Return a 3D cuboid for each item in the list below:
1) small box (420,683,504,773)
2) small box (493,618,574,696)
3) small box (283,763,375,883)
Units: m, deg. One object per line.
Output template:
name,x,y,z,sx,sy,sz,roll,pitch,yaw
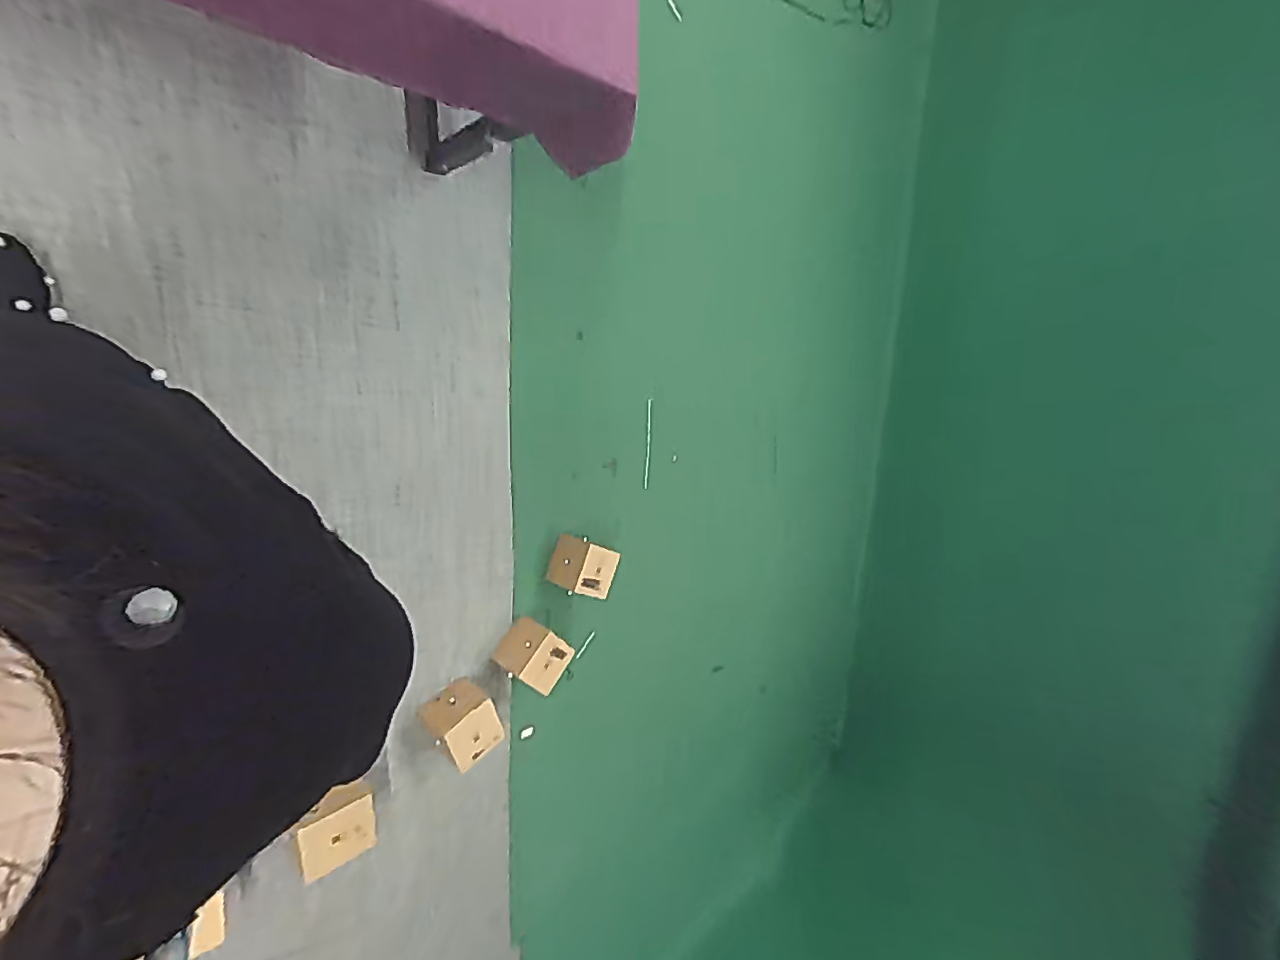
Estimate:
small box,-0.560,0.765,1.698,0.168,0.176,0.179,-31,120,-38
small box,-0.368,0.603,1.861,0.179,0.176,0.168,-55,133,-21
small box,-0.832,0.904,1.442,0.179,0.176,0.168,-11,108,-44
